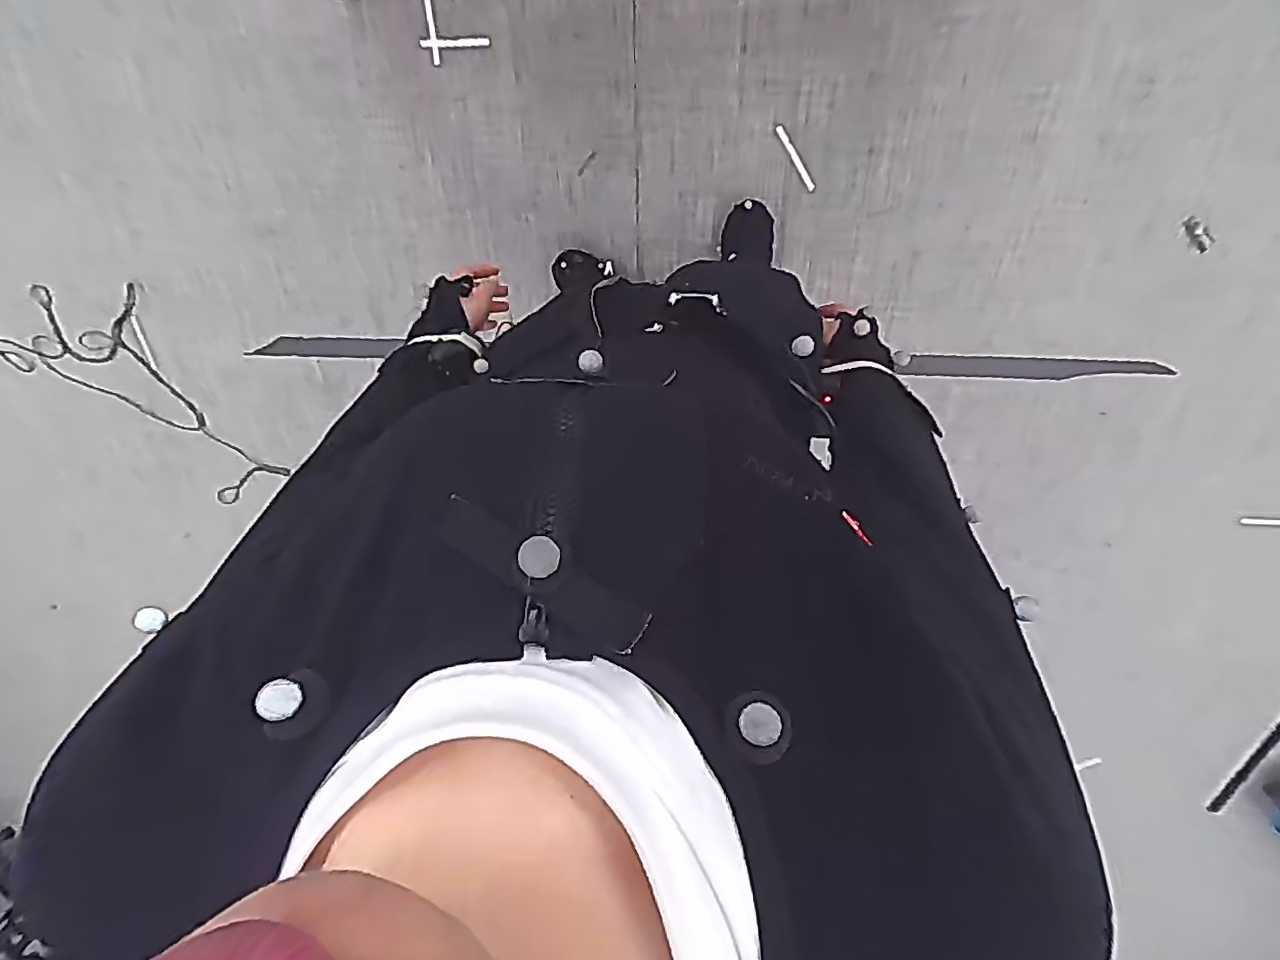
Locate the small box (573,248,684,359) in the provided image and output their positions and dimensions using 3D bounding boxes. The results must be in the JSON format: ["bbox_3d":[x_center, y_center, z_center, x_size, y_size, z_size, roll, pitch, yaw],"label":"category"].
[{"bbox_3d":[-0.023,-0.378,1.156,0.179,0.176,0.168,-39,106,15],"label":"small box"}]
